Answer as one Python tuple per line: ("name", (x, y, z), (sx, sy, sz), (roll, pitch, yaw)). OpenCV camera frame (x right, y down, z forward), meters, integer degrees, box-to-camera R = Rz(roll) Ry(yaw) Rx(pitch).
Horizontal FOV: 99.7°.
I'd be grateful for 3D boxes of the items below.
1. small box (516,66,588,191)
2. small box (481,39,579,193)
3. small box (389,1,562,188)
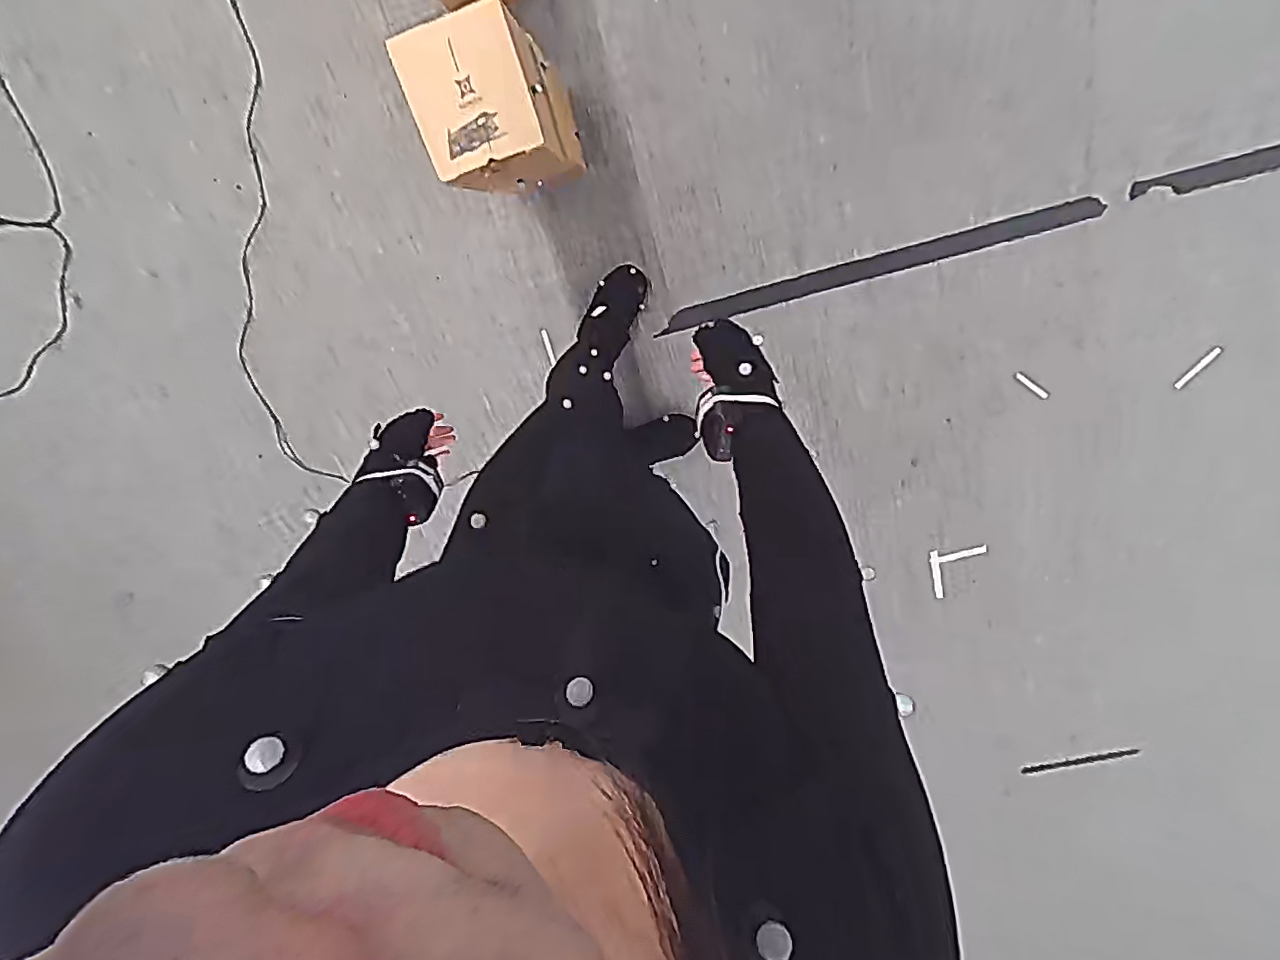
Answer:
("small box", (-0.217, -0.700, 1.098), (0.179, 0.176, 0.168), (-13, 114, 6))
("small box", (-0.218, -0.625, 0.955), (0.168, 0.176, 0.179), (-16, 114, 9))
("small box", (-0.228, -0.553, 0.807), (0.168, 0.176, 0.179), (-15, 113, 8))
